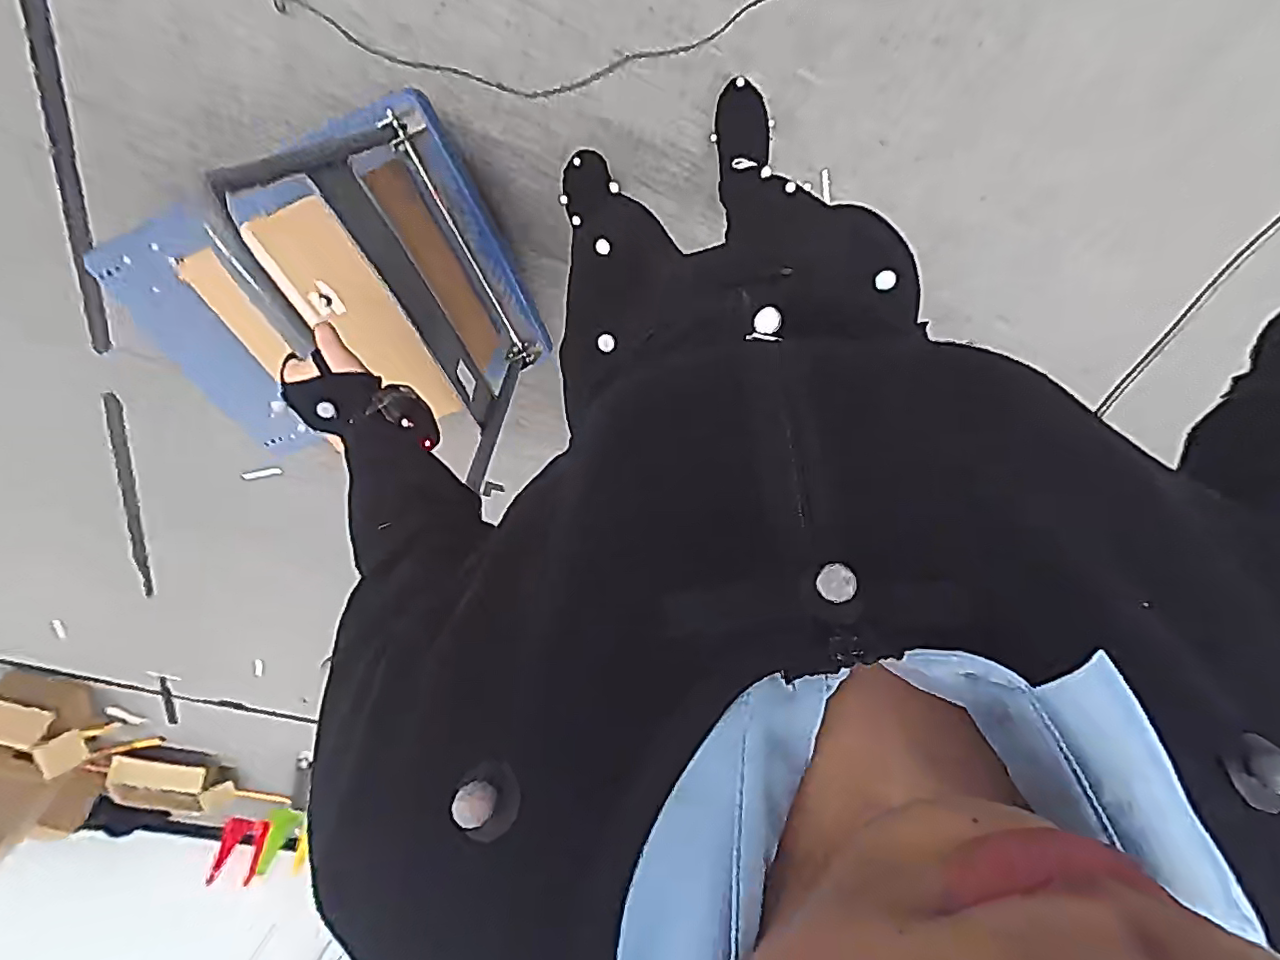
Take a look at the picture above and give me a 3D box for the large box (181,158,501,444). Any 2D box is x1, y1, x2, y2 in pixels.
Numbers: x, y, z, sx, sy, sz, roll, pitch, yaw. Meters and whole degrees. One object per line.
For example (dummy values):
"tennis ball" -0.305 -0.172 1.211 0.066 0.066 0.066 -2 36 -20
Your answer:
"large box" -0.535 -0.348 1.075 0.320 0.320 0.408 -16 126 12
